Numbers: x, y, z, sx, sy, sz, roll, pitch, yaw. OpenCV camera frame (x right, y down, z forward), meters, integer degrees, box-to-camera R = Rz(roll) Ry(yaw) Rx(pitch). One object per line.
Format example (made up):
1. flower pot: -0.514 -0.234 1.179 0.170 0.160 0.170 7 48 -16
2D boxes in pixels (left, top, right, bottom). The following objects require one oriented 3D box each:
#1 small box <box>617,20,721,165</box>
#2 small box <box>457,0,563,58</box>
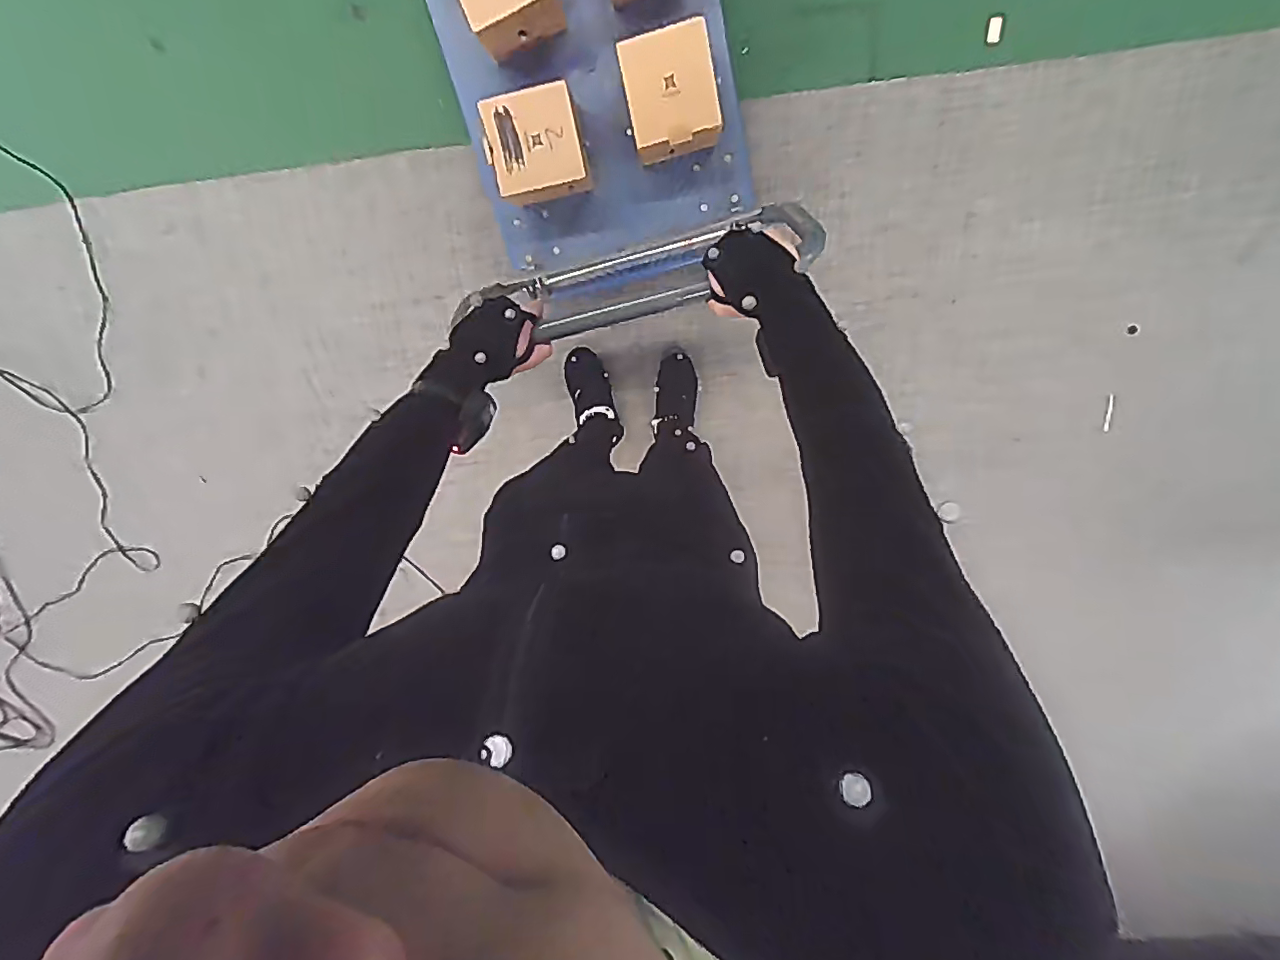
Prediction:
1. small box: 0.056 -0.753 1.071 0.168 0.176 0.179 -13 111 6
2. small box: -0.257 -0.928 1.006 0.168 0.176 0.179 -21 110 8
